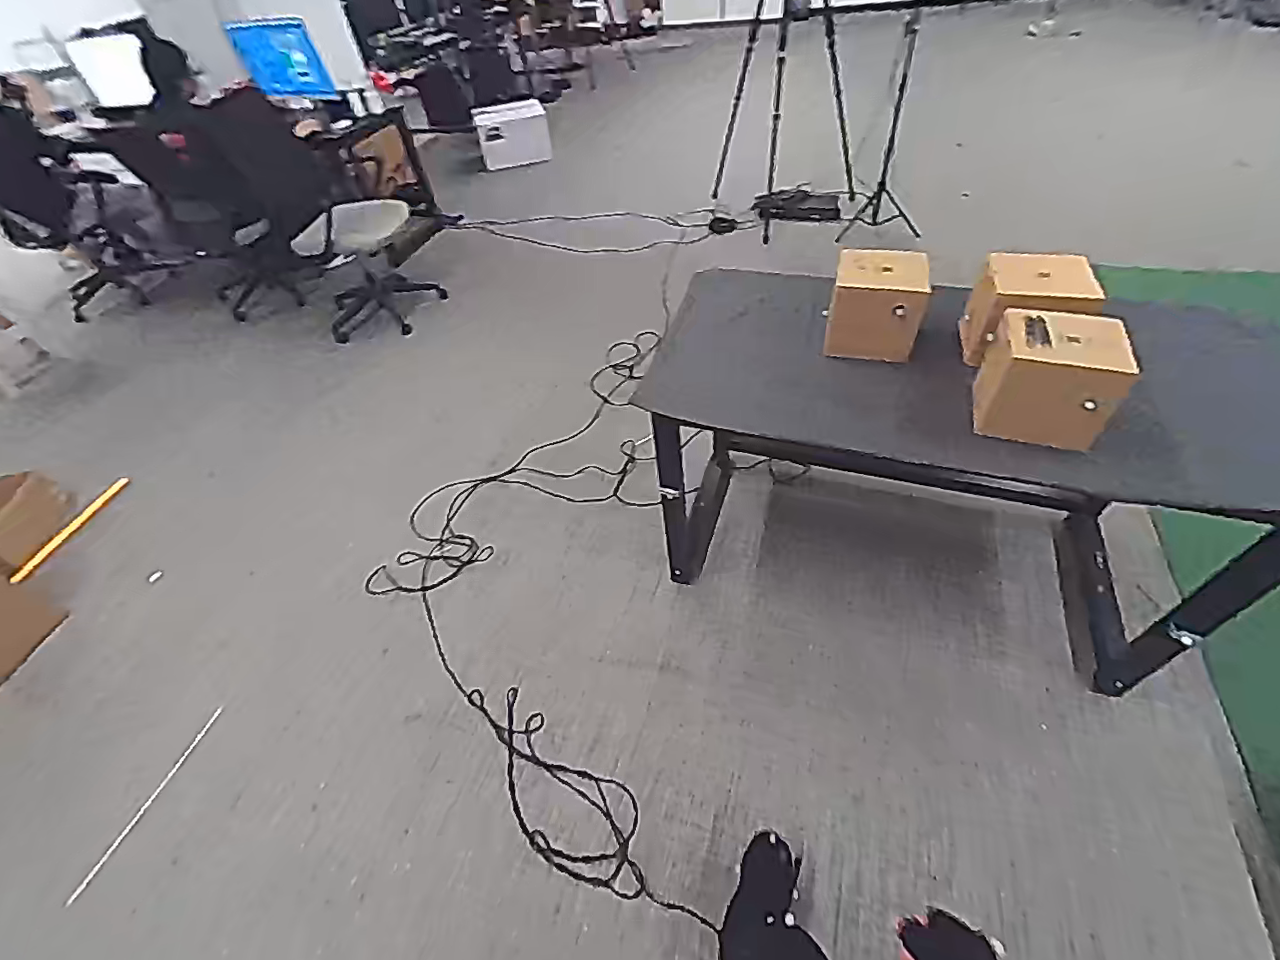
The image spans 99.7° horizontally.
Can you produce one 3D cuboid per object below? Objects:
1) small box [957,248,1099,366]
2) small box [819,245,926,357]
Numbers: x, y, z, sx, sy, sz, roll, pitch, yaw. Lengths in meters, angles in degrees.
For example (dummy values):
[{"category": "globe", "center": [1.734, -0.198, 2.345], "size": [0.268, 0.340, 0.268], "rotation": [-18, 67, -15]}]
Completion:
[{"category": "small box", "center": [0.771, -0.349, 1.097], "size": [0.179, 0.176, 0.168], "rotation": [8, 50, 16]}, {"category": "small box", "center": [0.496, -0.384, 1.164], "size": [0.179, 0.176, 0.168], "rotation": [9, 50, 16]}]
